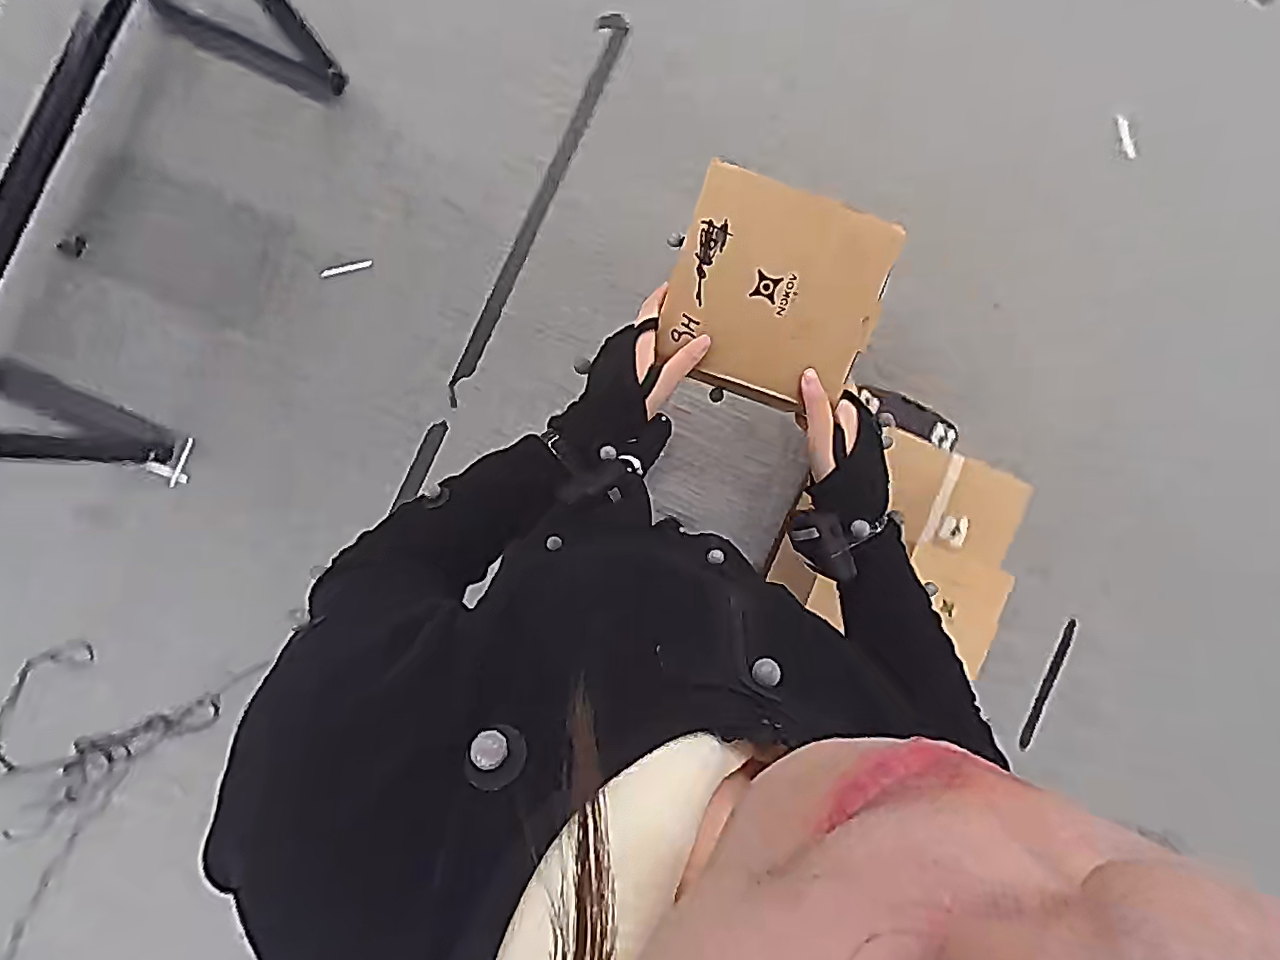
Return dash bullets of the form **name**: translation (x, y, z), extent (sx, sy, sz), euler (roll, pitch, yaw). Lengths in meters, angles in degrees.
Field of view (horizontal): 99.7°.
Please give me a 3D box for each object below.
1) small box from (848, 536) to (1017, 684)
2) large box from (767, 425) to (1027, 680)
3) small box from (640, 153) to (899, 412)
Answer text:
- **small box**: translation (0.477, 0.208, 0.914), extent (0.168, 0.176, 0.179), euler (22, 89, 0)
- **large box**: translation (0.514, 0.141, 1.160), extent (0.320, 0.320, 0.408), euler (23, 89, -1)
- **small box**: translation (0.106, -0.174, 0.528), extent (0.179, 0.176, 0.168), euler (17, 98, -4)
